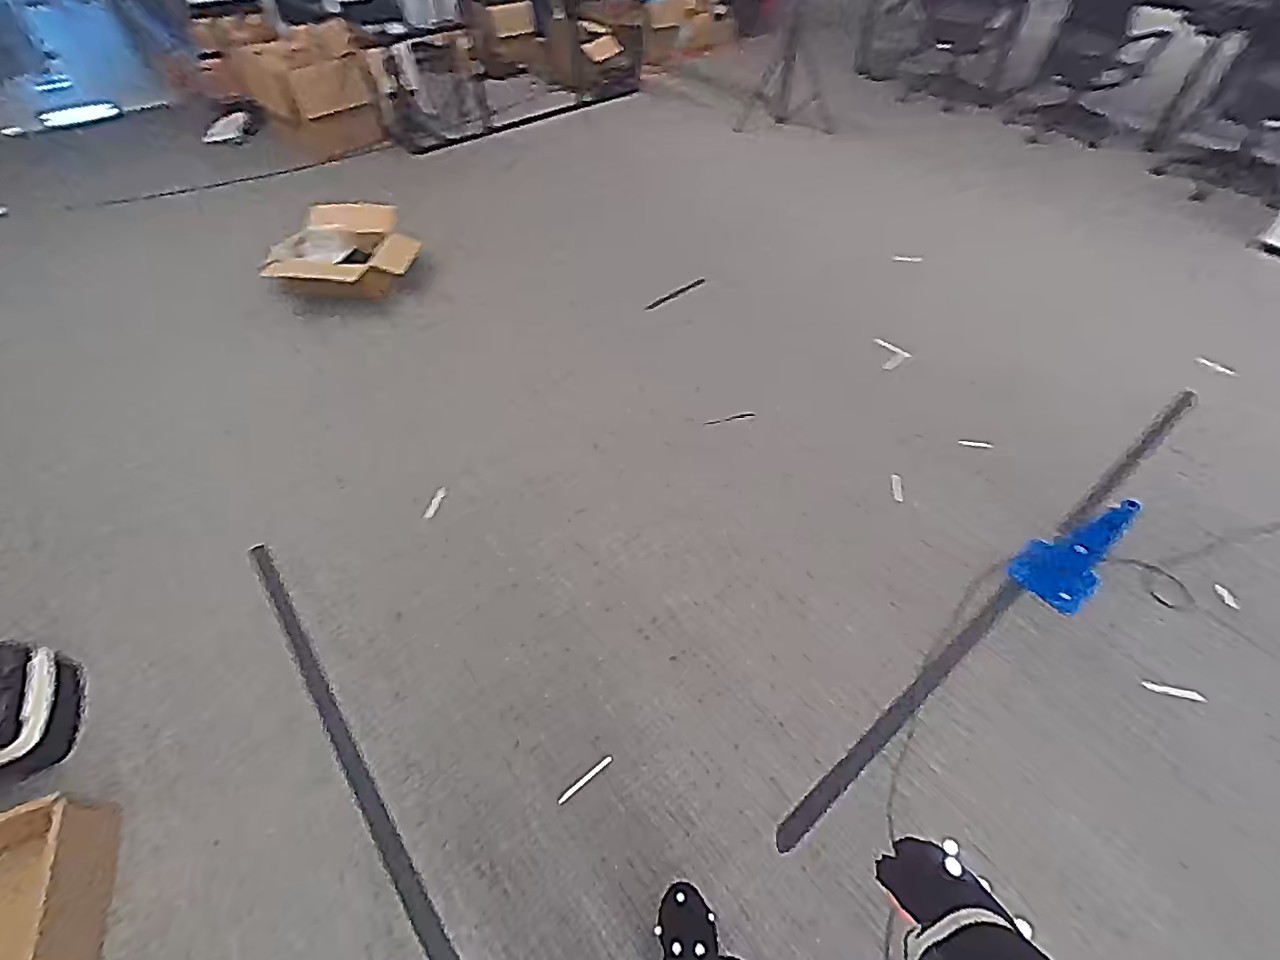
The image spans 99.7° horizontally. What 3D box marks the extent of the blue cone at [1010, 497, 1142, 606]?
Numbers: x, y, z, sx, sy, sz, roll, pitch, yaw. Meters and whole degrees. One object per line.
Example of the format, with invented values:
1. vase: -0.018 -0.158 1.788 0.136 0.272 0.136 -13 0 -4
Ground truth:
1. blue cone: 1.241 0.166 1.499 0.192 0.380 0.193 -33 58 -24
